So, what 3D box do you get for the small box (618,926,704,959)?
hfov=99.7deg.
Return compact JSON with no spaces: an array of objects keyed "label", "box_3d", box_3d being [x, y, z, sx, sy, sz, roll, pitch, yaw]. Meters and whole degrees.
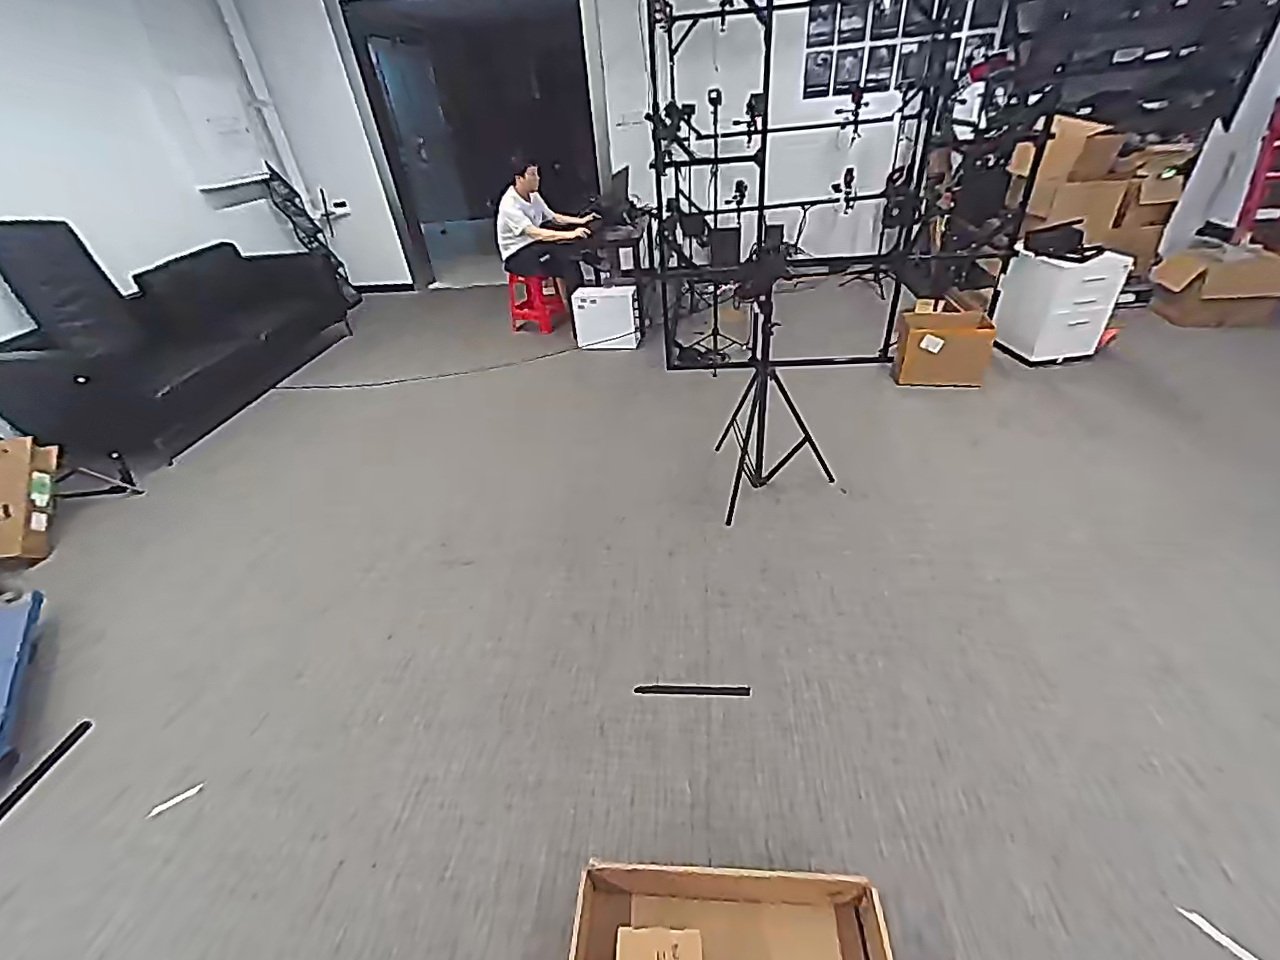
[{"label":"small box","box_3d":[0.043,0.992,1.035,0.168,0.176,0.179,-1,35,4]}]
